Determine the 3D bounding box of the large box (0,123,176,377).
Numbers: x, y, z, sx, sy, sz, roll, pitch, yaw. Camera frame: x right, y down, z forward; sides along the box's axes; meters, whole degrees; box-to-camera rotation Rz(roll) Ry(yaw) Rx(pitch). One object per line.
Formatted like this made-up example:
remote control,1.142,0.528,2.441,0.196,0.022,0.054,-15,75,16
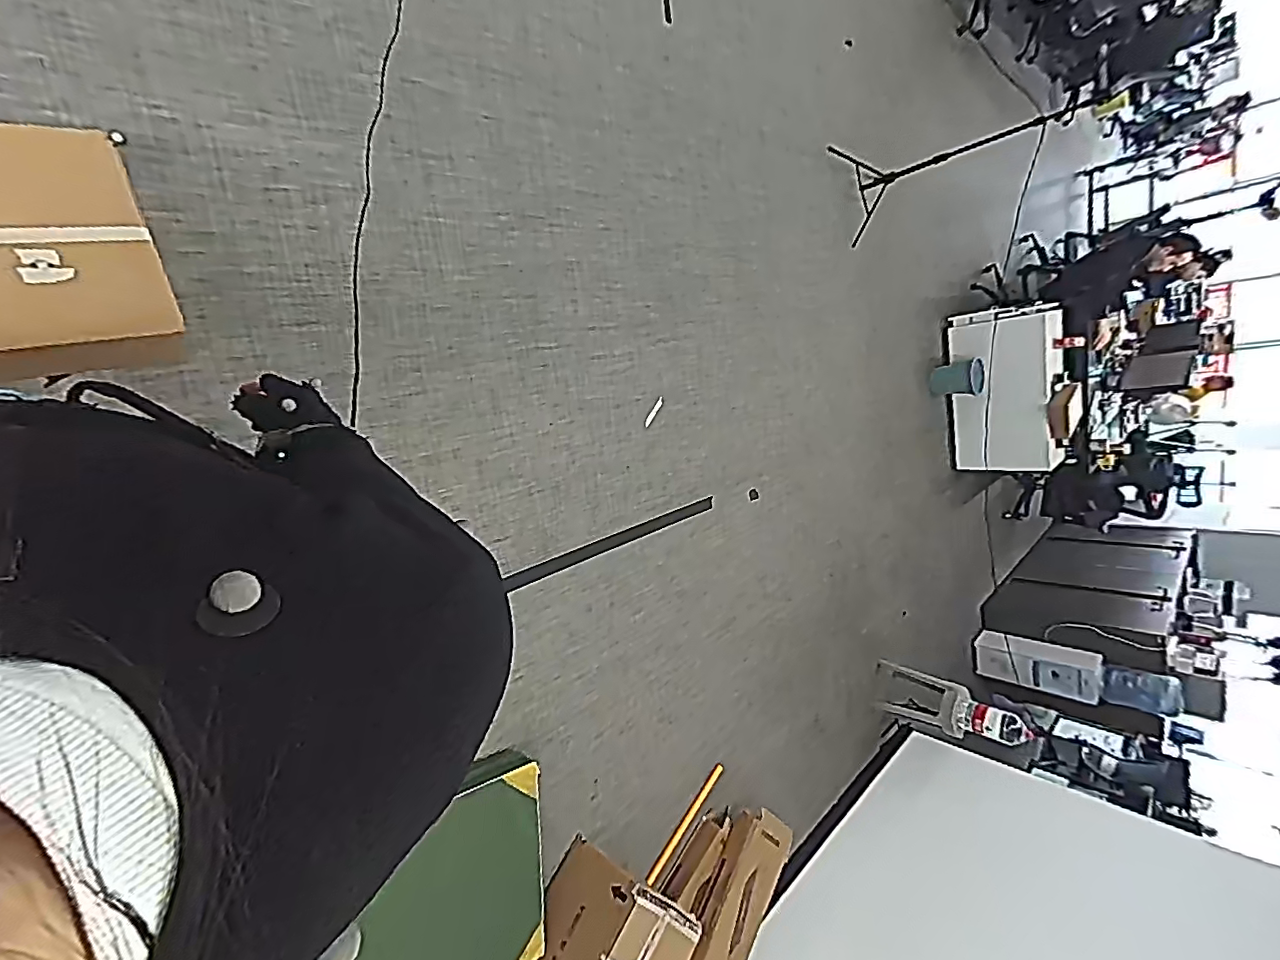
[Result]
large box,-1.057,-0.346,0.870,0.408,0.320,0.320,-22,106,-39
